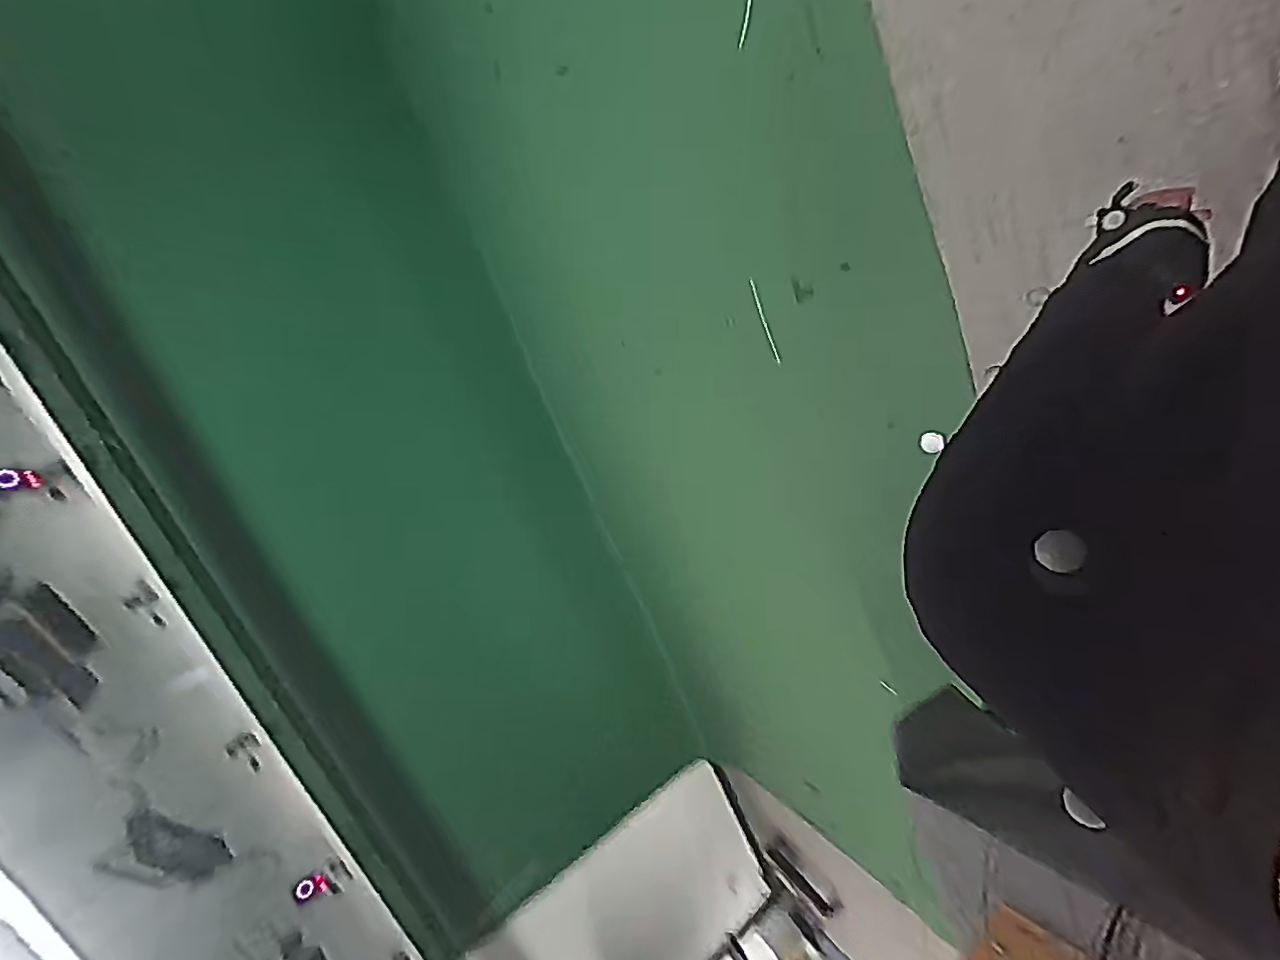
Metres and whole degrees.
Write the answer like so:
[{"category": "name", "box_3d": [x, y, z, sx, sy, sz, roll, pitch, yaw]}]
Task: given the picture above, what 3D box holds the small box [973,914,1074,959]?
[{"category": "small box", "box_3d": [0.729, 0.958, 0.982, 0.179, 0.176, 0.168, 62, 157, -6]}]
